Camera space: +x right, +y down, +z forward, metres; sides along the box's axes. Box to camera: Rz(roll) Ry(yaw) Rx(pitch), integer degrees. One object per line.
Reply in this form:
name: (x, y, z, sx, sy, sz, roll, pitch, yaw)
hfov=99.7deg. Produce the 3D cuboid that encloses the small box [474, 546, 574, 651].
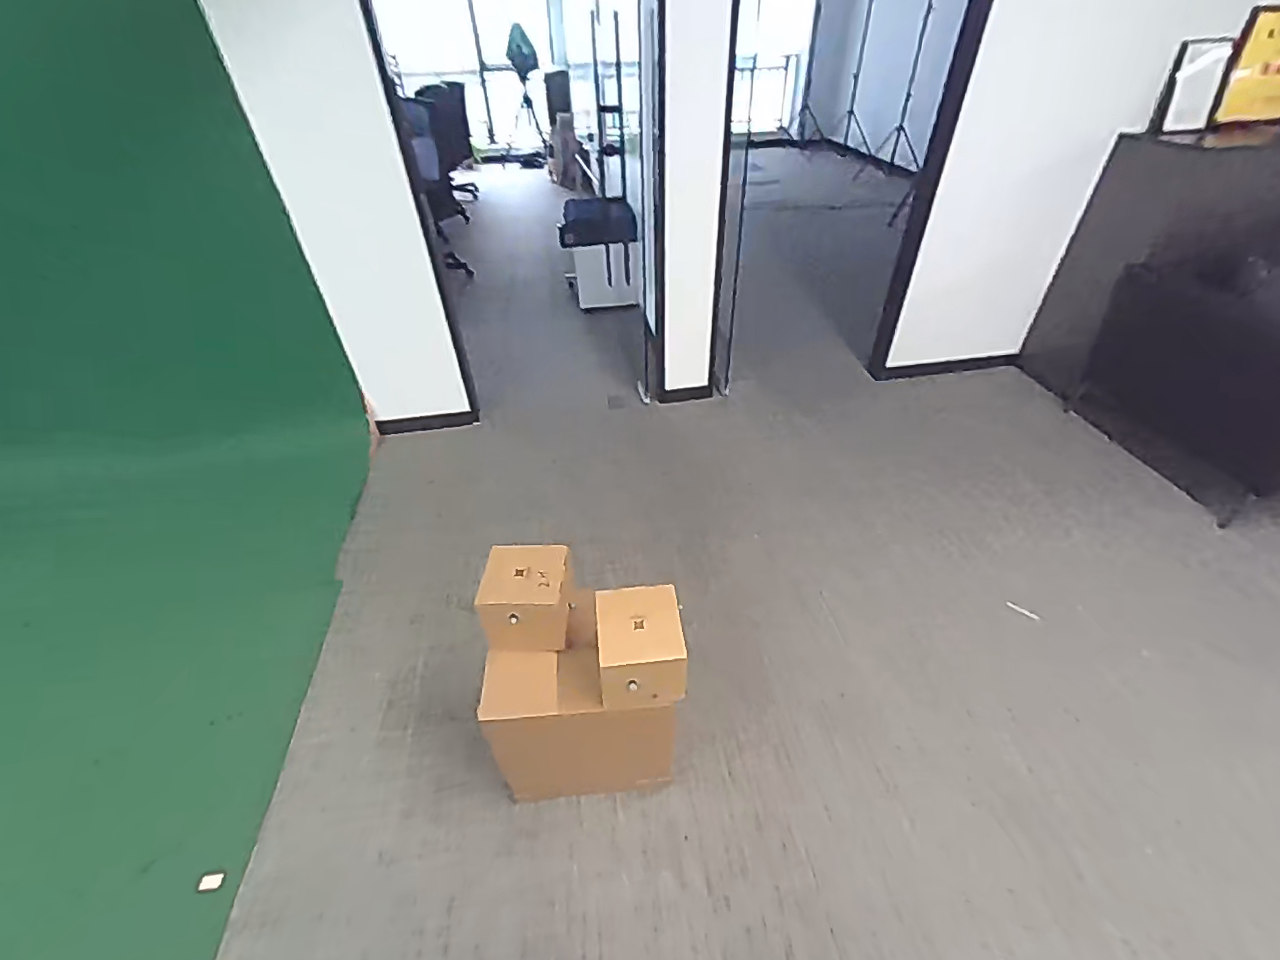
small box: (-0.251, 0.266, 1.212, 0.179, 0.176, 0.168, 0, 40, 1)

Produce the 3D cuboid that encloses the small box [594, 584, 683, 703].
small box: (-0.004, 0.341, 1.113, 0.168, 0.176, 0.179, -5, 40, -4)
